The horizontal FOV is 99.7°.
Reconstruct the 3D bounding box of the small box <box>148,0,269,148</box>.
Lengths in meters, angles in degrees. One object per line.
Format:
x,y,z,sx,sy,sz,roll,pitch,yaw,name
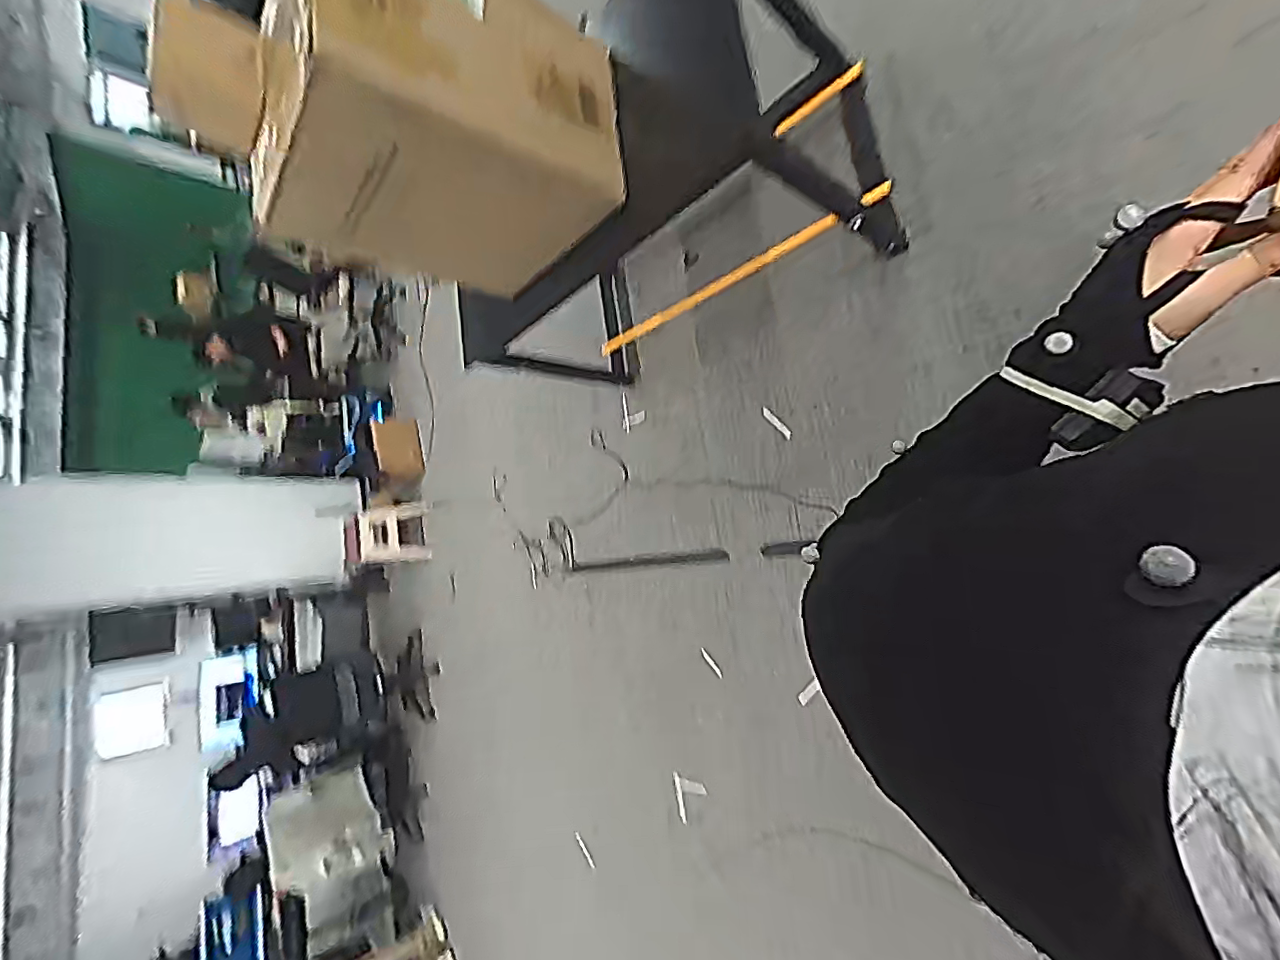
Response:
-0.852,-0.805,1.069,0.179,0.176,0.168,-14,78,45,small box

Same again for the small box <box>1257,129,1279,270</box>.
0.456,-0.209,0.268,0.168,0.176,0.179,21,107,48,small box
